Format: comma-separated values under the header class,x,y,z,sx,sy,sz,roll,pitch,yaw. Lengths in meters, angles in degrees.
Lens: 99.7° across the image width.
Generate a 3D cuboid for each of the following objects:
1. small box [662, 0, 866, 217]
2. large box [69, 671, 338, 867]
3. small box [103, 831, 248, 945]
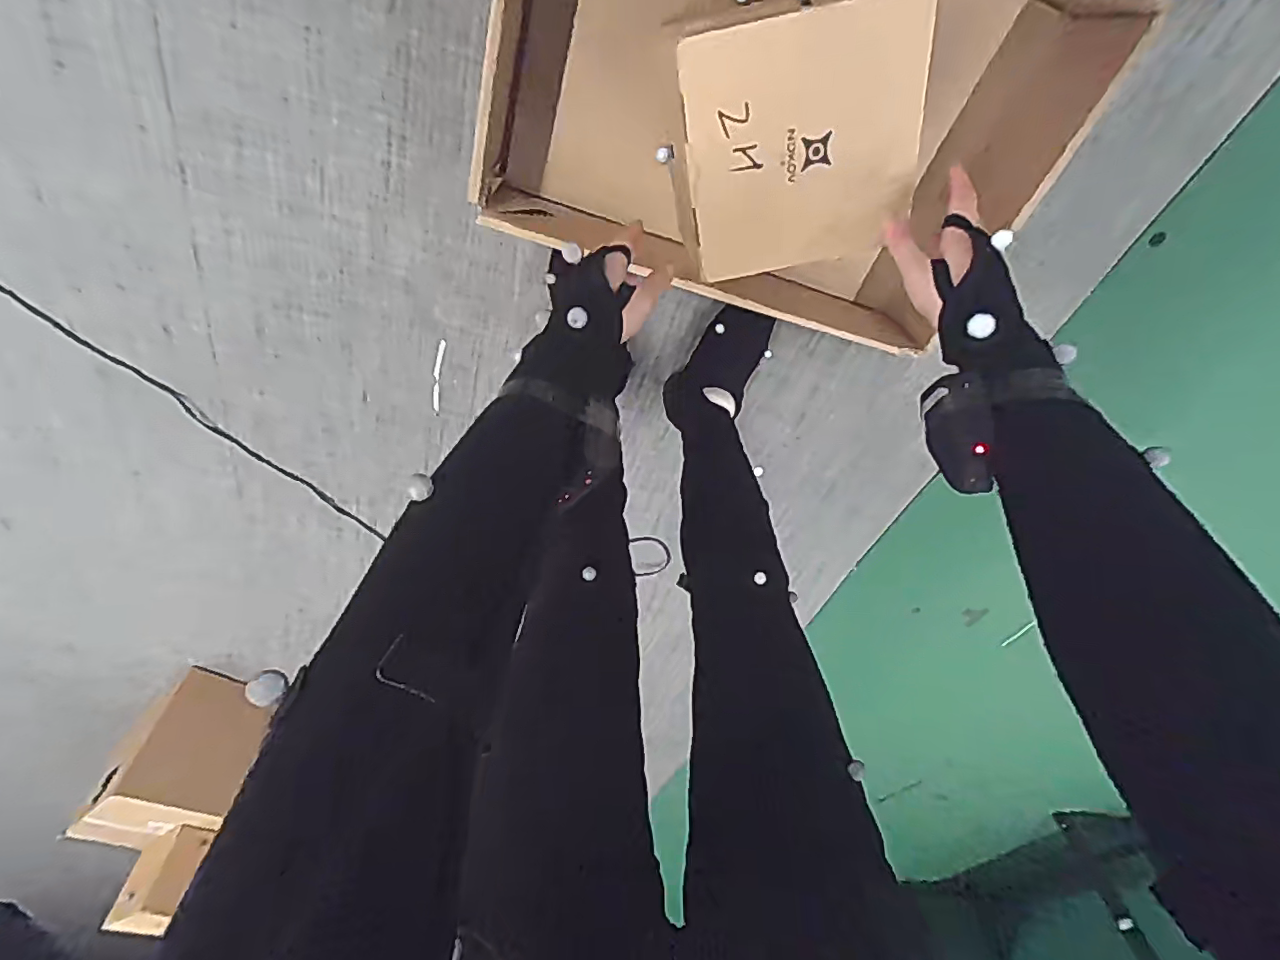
class,x,y,z,sx,sy,sz,roll,pitch,yaw
small box,0.122,-0.407,0.582,0.179,0.176,0.168,-11,130,5
large box,-1.108,0.768,1.423,0.320,0.320,0.408,-37,122,22
small box,-1.070,0.952,1.262,0.179,0.176,0.168,-32,125,21
